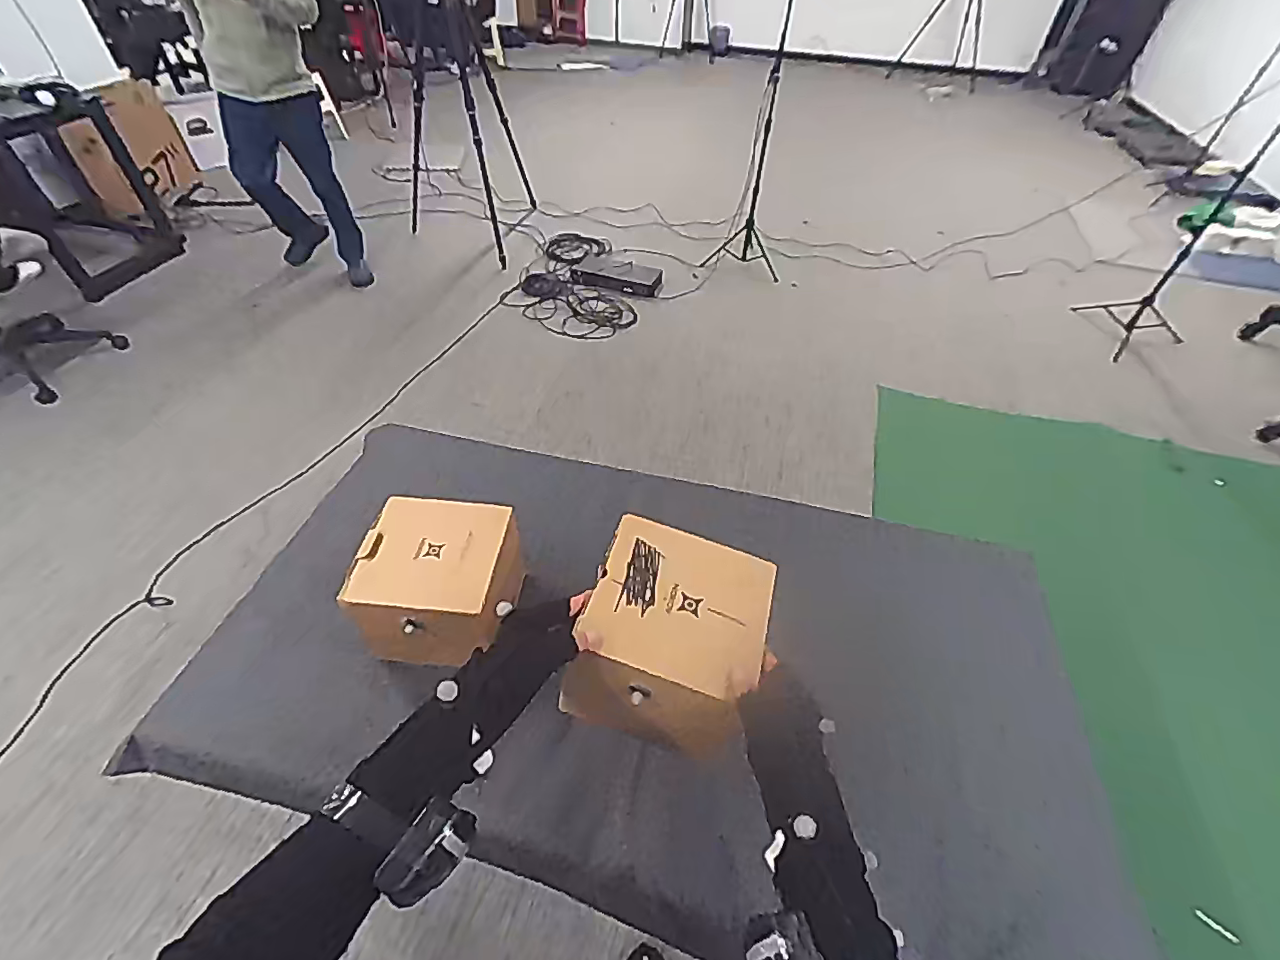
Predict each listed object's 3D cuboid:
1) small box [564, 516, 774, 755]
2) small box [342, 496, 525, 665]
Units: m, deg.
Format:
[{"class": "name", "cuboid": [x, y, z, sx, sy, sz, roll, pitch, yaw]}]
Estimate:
[{"class": "small box", "cuboid": [0.026, 0.172, 0.589, 0.179, 0.176, 0.168, 19, 48, 4]}, {"class": "small box", "cuboid": [-0.269, 0.144, 0.755, 0.179, 0.176, 0.168, 5, 49, 0]}]
